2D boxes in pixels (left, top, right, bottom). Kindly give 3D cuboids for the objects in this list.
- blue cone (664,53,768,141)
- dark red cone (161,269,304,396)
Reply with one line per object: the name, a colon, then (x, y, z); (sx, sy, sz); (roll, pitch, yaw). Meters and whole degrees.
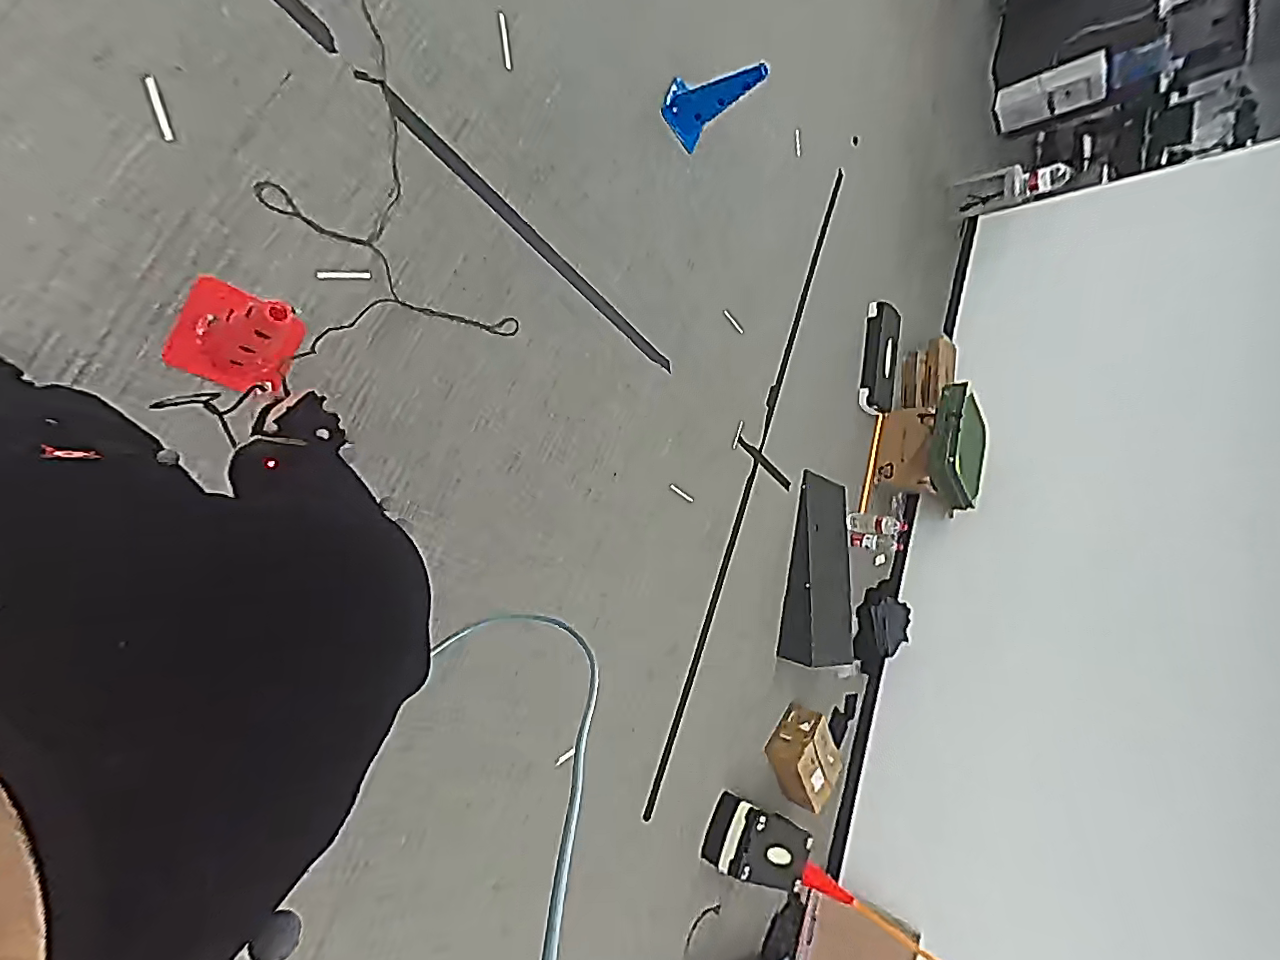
blue cone: (0.281, -1.399, 1.923); (0.193, 0.380, 0.192); (35, 67, -41)
dark red cone: (-0.699, -0.286, 0.974); (0.202, 0.394, 0.201); (25, 74, -43)
